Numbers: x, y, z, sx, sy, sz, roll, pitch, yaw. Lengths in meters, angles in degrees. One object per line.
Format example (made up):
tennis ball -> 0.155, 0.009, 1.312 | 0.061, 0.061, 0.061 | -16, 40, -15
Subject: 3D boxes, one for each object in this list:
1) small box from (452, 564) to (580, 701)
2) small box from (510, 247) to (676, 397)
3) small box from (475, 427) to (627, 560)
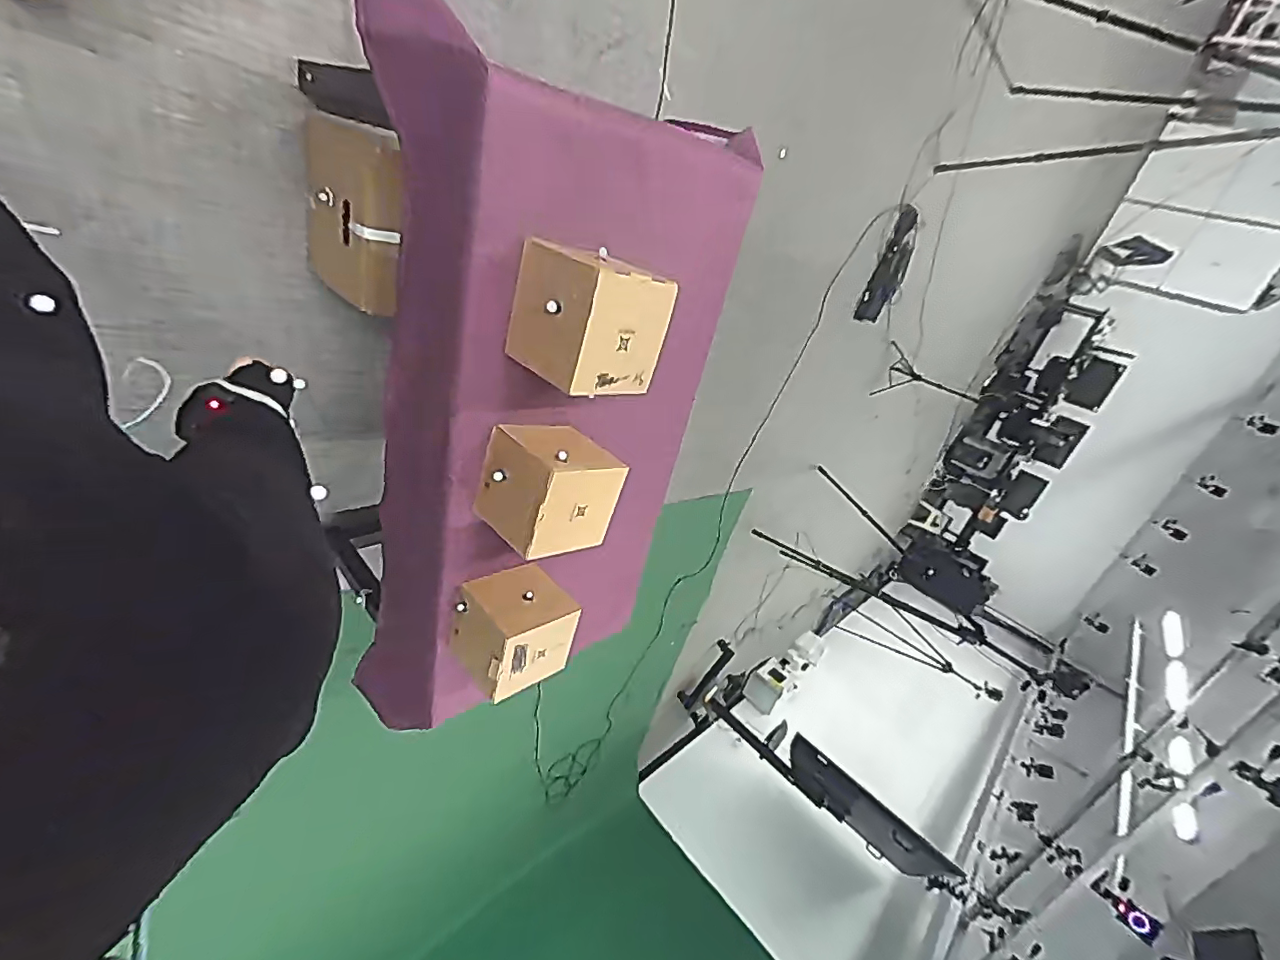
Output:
small box -> -0.253, 0.294, 1.081 | 0.179, 0.176, 0.168 | -12, 128, -47
small box -> -0.078, -0.239, 0.823 | 0.168, 0.176, 0.179 | -11, 126, -46
small box -> -0.159, 0.015, 0.953 | 0.179, 0.176, 0.168 | -5, 123, -48
